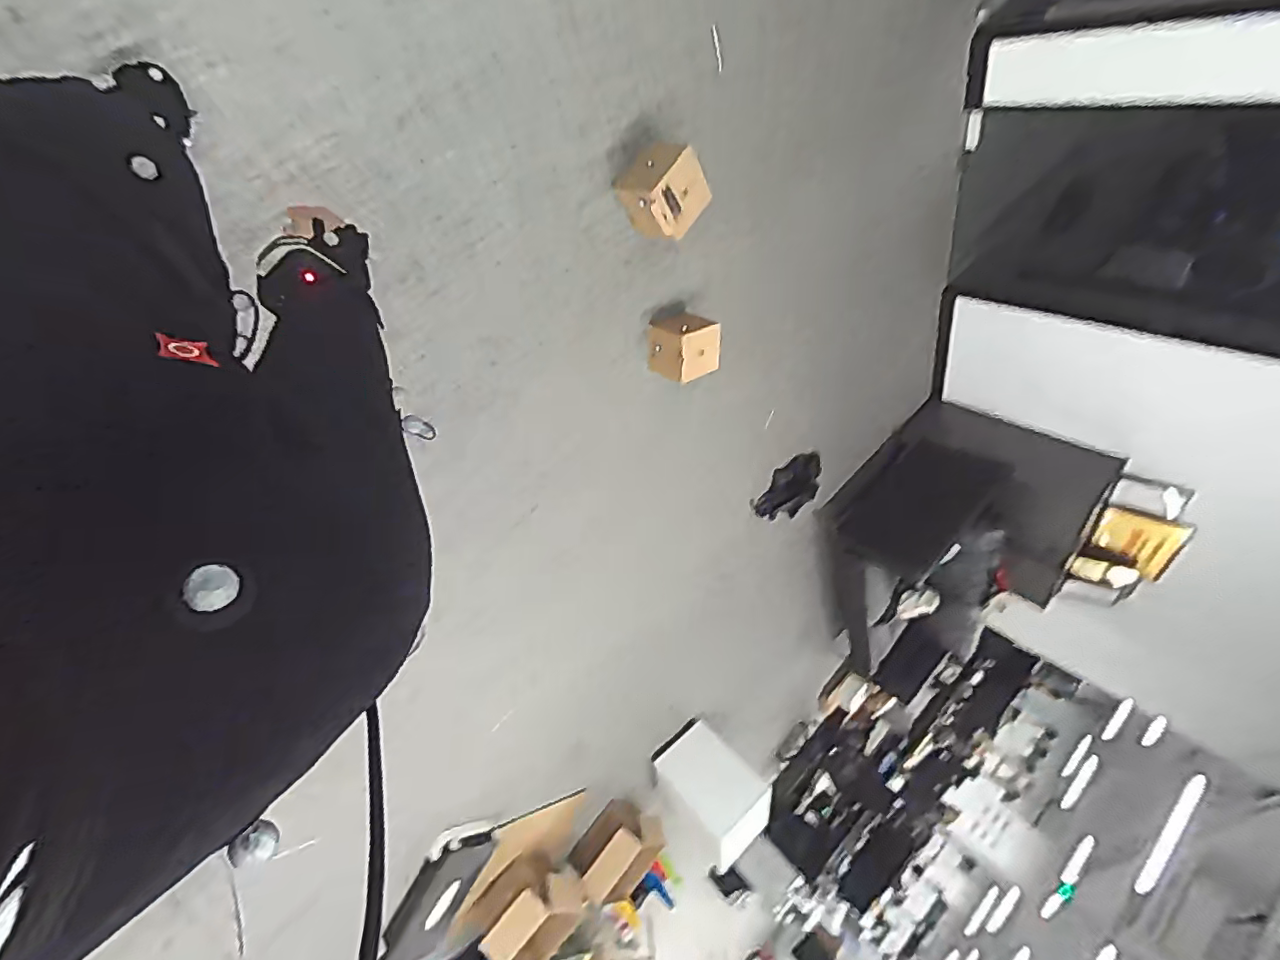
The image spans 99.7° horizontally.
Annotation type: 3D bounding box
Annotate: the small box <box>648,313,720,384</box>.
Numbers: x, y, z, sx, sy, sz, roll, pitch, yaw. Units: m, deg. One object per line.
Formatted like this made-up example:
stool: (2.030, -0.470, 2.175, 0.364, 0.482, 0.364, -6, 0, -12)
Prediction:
small box: (0.146, -0.450, 1.824, 0.179, 0.176, 0.168, -28, 133, -29)
